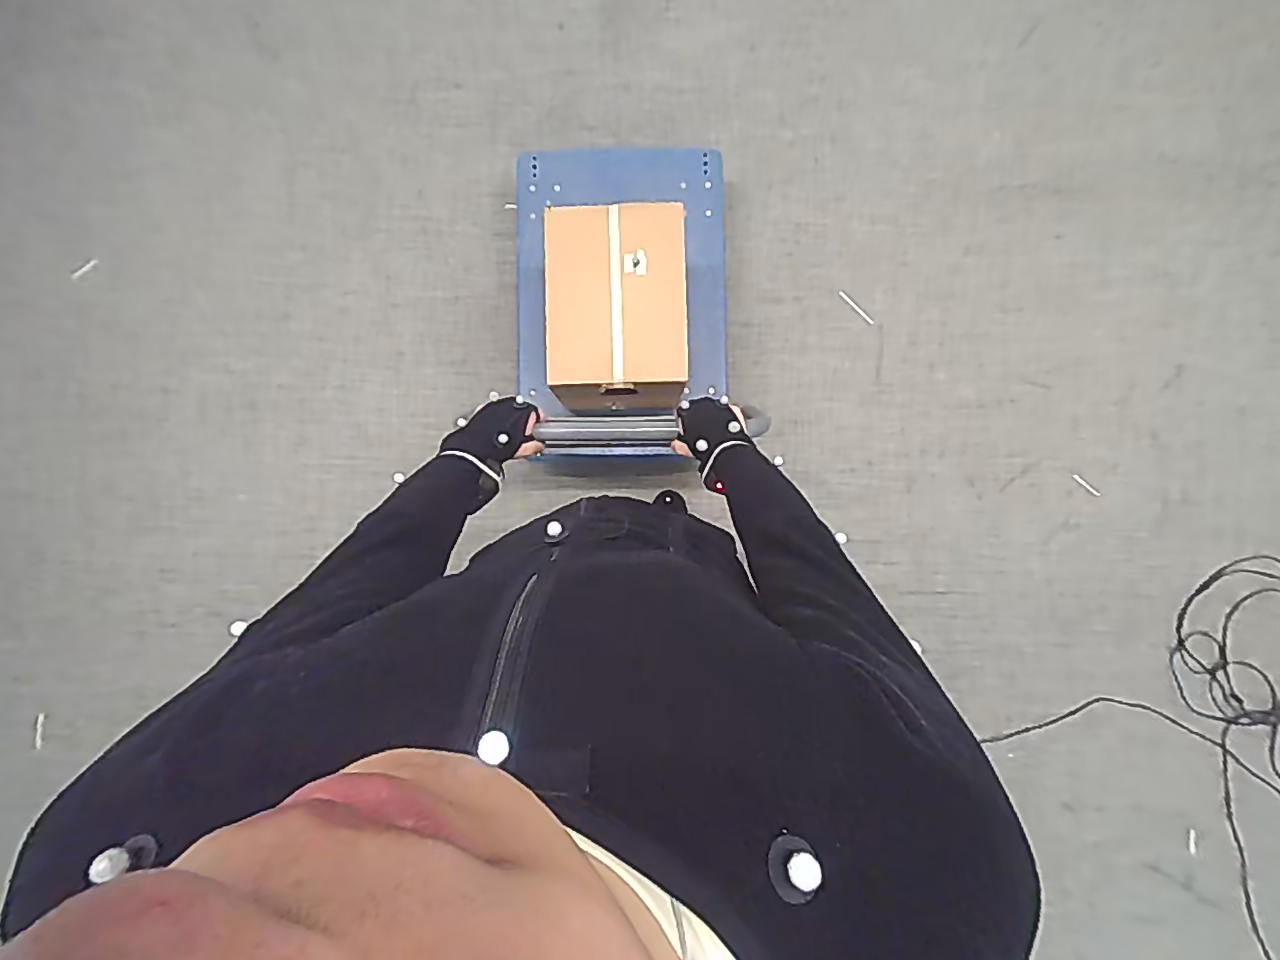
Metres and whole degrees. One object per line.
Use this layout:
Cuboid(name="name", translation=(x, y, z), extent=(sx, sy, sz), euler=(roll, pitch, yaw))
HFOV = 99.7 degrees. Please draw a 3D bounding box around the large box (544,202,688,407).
Cuboid(name="large box", translation=(-0.053, -0.411, 1.350), extent=(0.320, 0.320, 0.408), euler=(-1, 87, 0))
